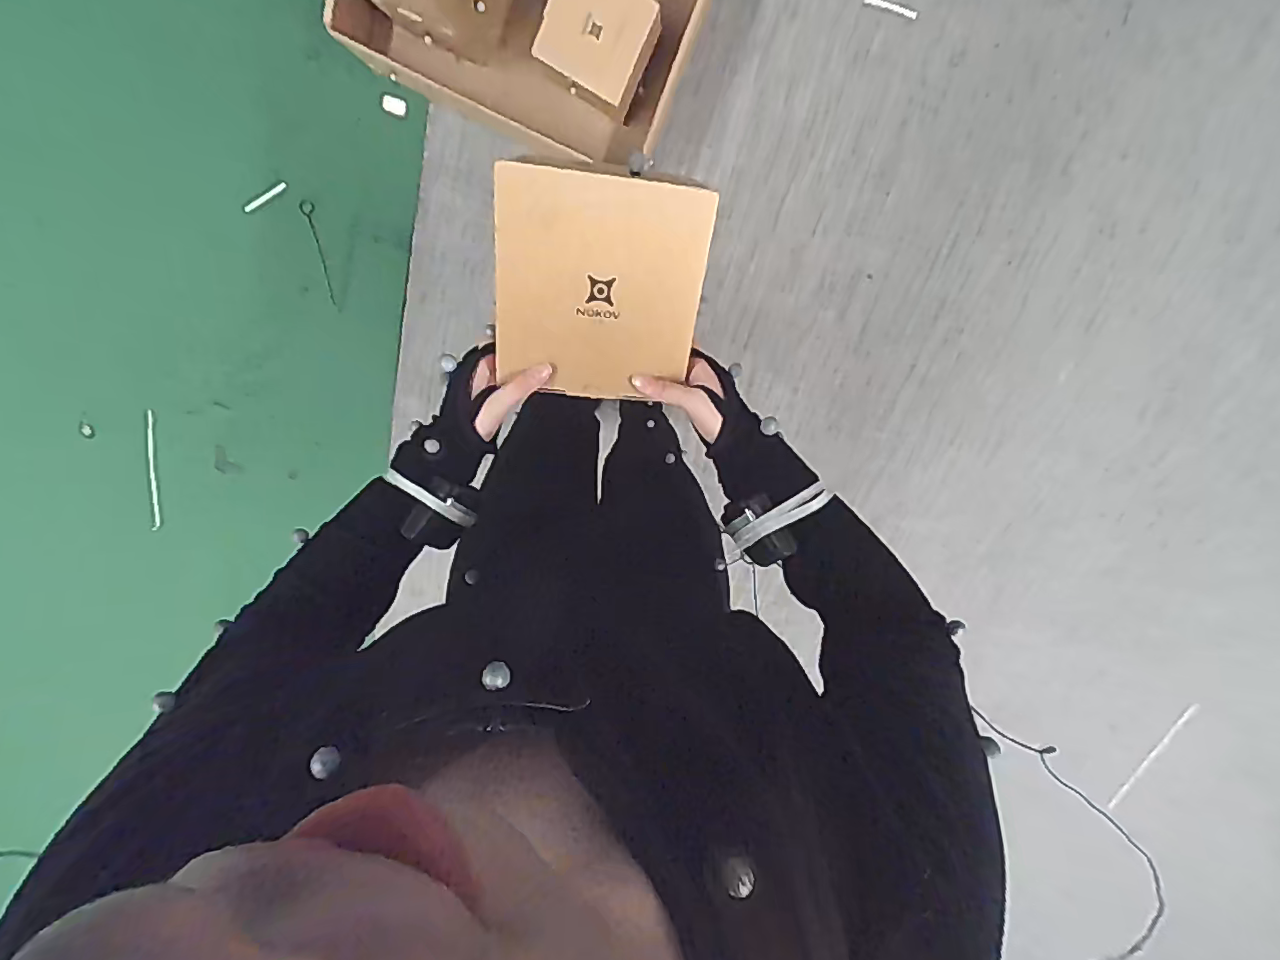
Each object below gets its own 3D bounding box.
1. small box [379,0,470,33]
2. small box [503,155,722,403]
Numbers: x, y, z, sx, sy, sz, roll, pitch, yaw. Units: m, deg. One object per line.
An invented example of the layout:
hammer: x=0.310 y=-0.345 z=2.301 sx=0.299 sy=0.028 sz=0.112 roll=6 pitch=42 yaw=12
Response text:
small box: x=-0.362 y=-0.837 z=0.827 sx=0.179 sy=0.176 sz=0.168 roll=21 pitch=111 yaw=-7
small box: x=-0.035 y=-0.193 z=0.508 sx=0.168 sy=0.176 sz=0.179 roll=4 pitch=124 yaw=-8
